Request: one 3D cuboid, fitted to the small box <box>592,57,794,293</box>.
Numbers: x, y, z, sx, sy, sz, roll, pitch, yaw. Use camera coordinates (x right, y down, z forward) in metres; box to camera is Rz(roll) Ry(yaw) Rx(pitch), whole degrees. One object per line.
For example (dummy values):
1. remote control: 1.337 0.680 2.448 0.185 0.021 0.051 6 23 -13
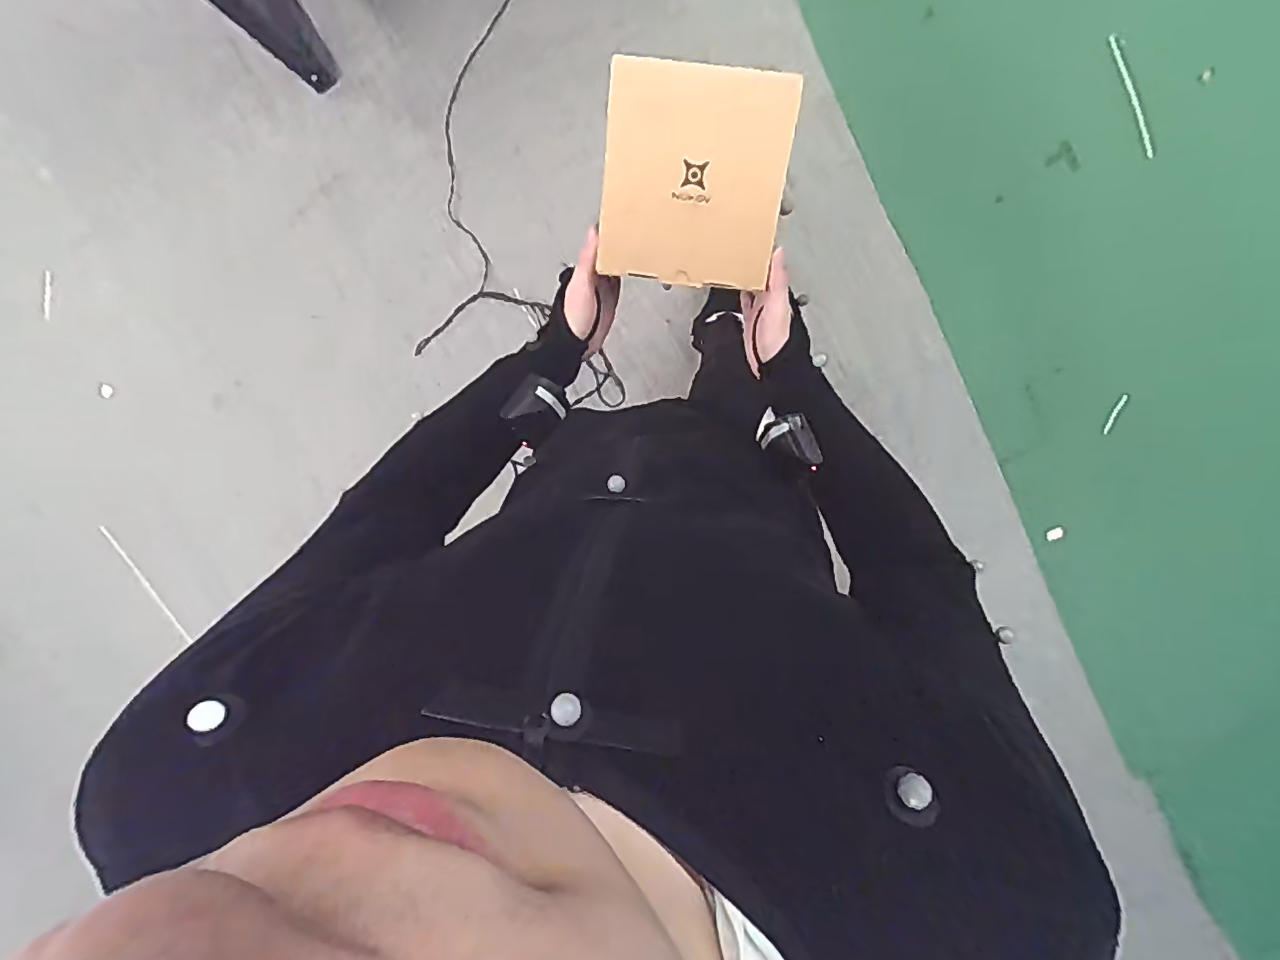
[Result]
1. small box: 0.045 -0.300 0.564 0.168 0.176 0.179 6 113 0
